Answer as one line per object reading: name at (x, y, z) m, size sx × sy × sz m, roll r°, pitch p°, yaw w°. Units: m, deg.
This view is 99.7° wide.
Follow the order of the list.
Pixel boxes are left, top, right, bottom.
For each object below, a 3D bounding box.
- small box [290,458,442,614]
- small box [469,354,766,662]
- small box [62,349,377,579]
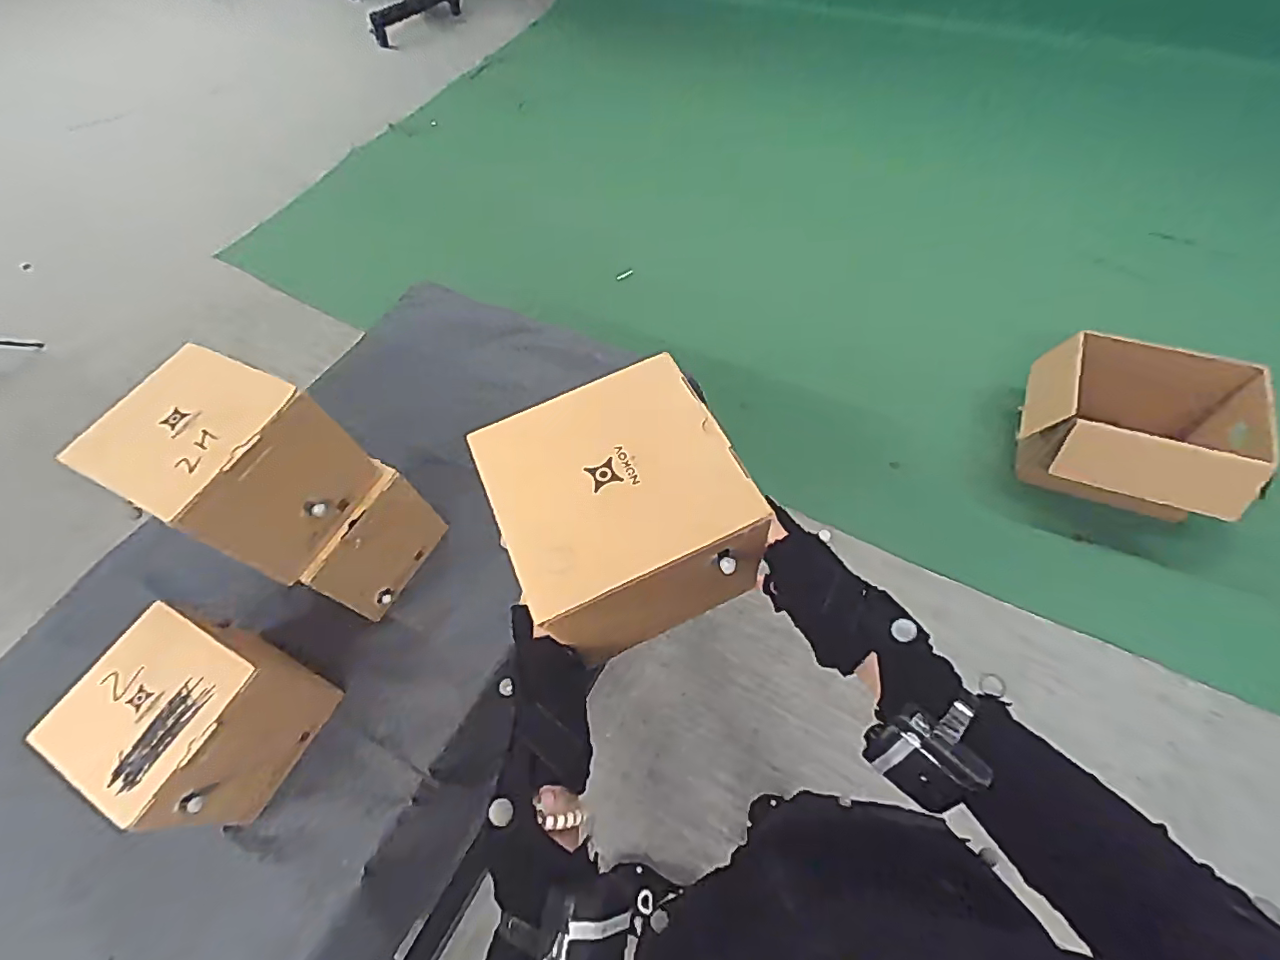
small box at (-0.409, 0.066, 0.743) m, size 0.179 × 0.176 × 0.168 m, roll 22°, pitch 64°, yaw 18°
small box at (-0.015, 0.033, 0.458) m, size 0.179 × 0.176 × 0.168 m, roll -24°, pitch 61°, yaw -7°
small box at (-0.443, -0.011, 0.601) m, size 0.179 × 0.176 × 0.168 m, roll 21°, pitch 65°, yaw 17°
